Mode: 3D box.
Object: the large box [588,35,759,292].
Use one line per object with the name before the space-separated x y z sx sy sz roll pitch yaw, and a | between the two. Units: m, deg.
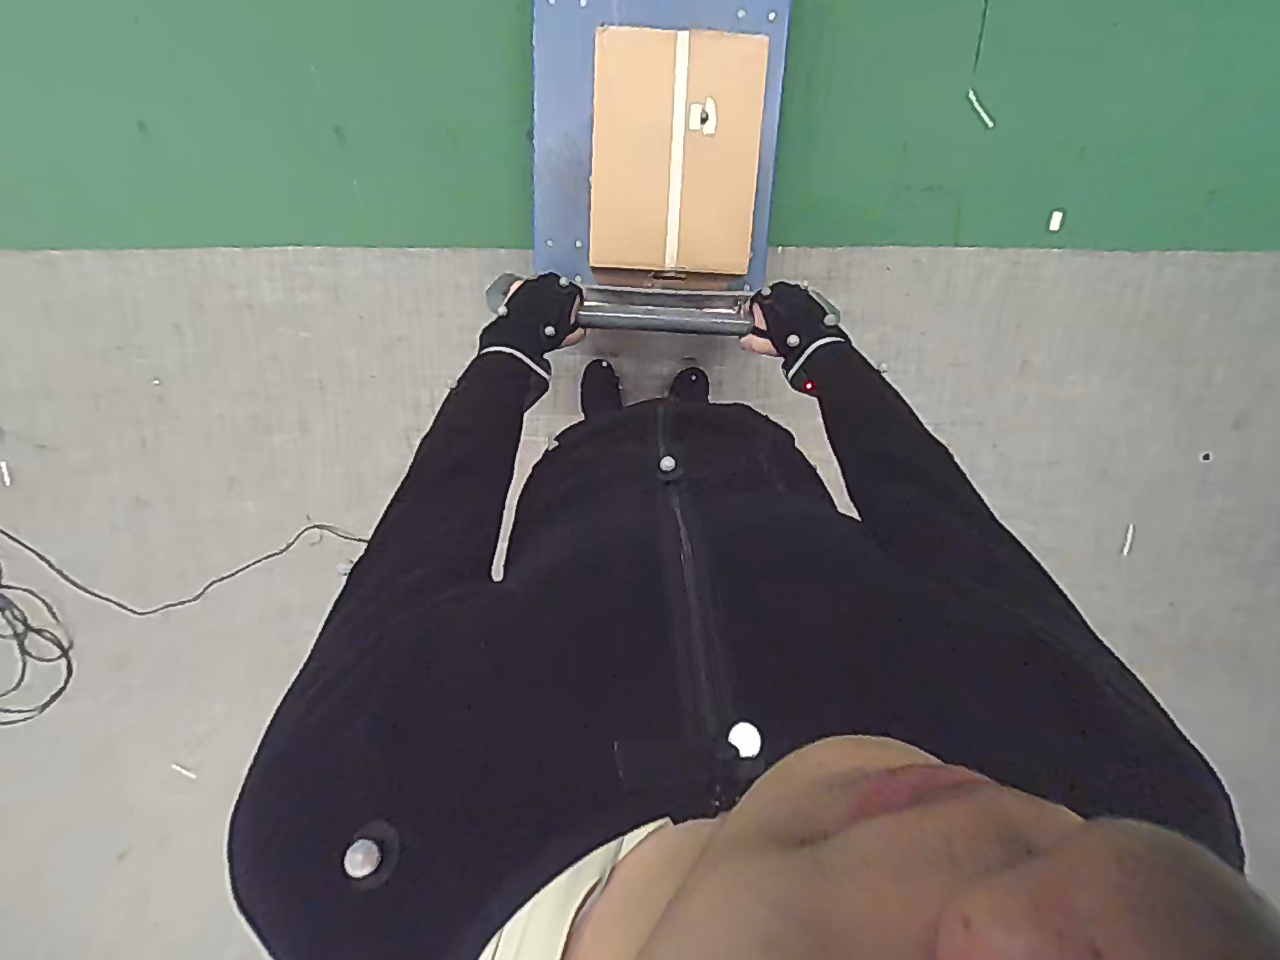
large box | 0.057 -0.632 1.160 0.320 0.320 0.408 2 102 -3
